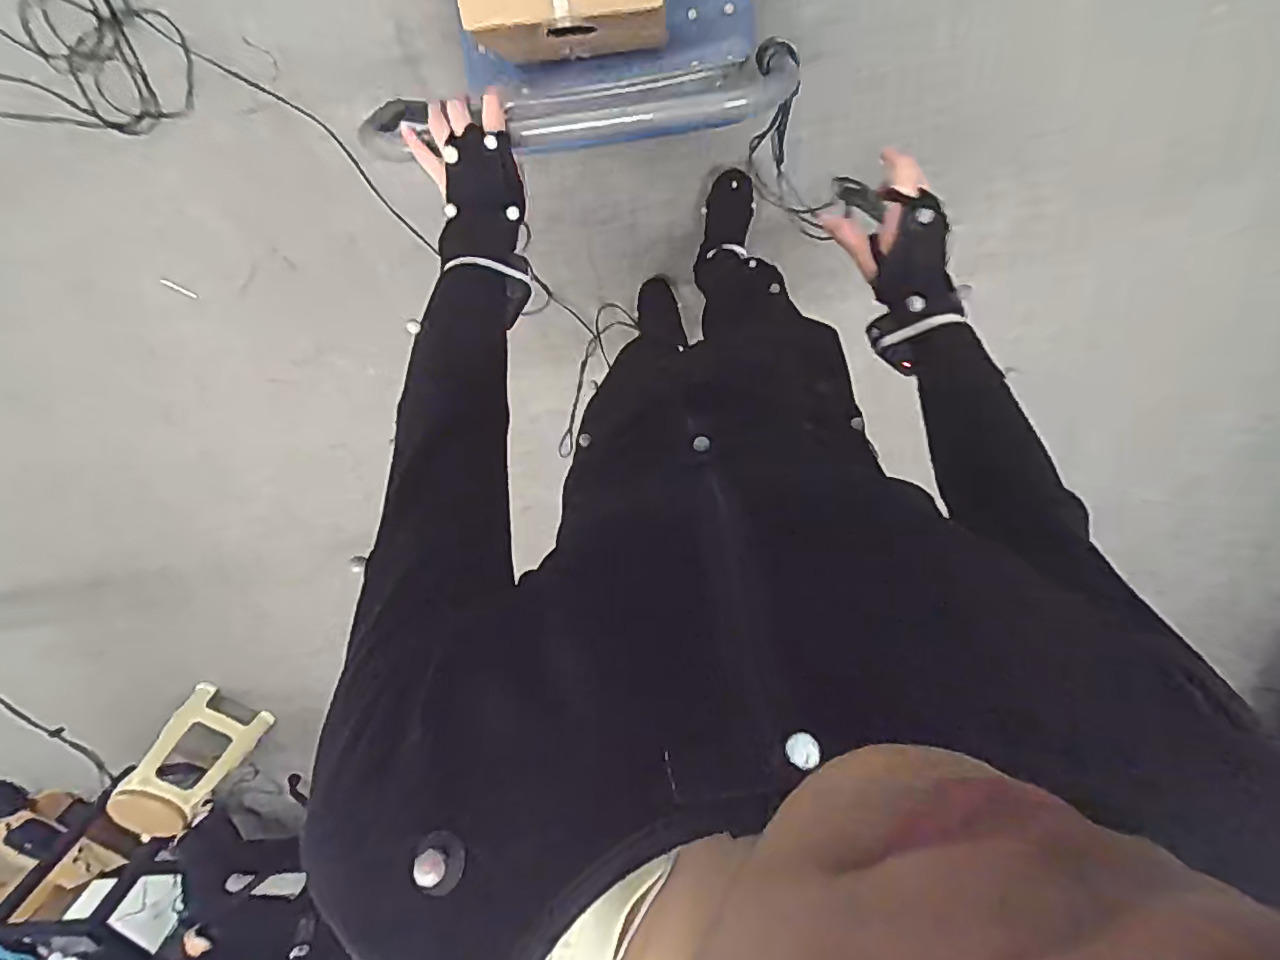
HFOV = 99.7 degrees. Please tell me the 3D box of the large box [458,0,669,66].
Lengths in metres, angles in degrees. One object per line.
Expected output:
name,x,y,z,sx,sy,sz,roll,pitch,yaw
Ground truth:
large box,-0.123,-0.932,0.841,0.320,0.320,0.408,-2,120,4
